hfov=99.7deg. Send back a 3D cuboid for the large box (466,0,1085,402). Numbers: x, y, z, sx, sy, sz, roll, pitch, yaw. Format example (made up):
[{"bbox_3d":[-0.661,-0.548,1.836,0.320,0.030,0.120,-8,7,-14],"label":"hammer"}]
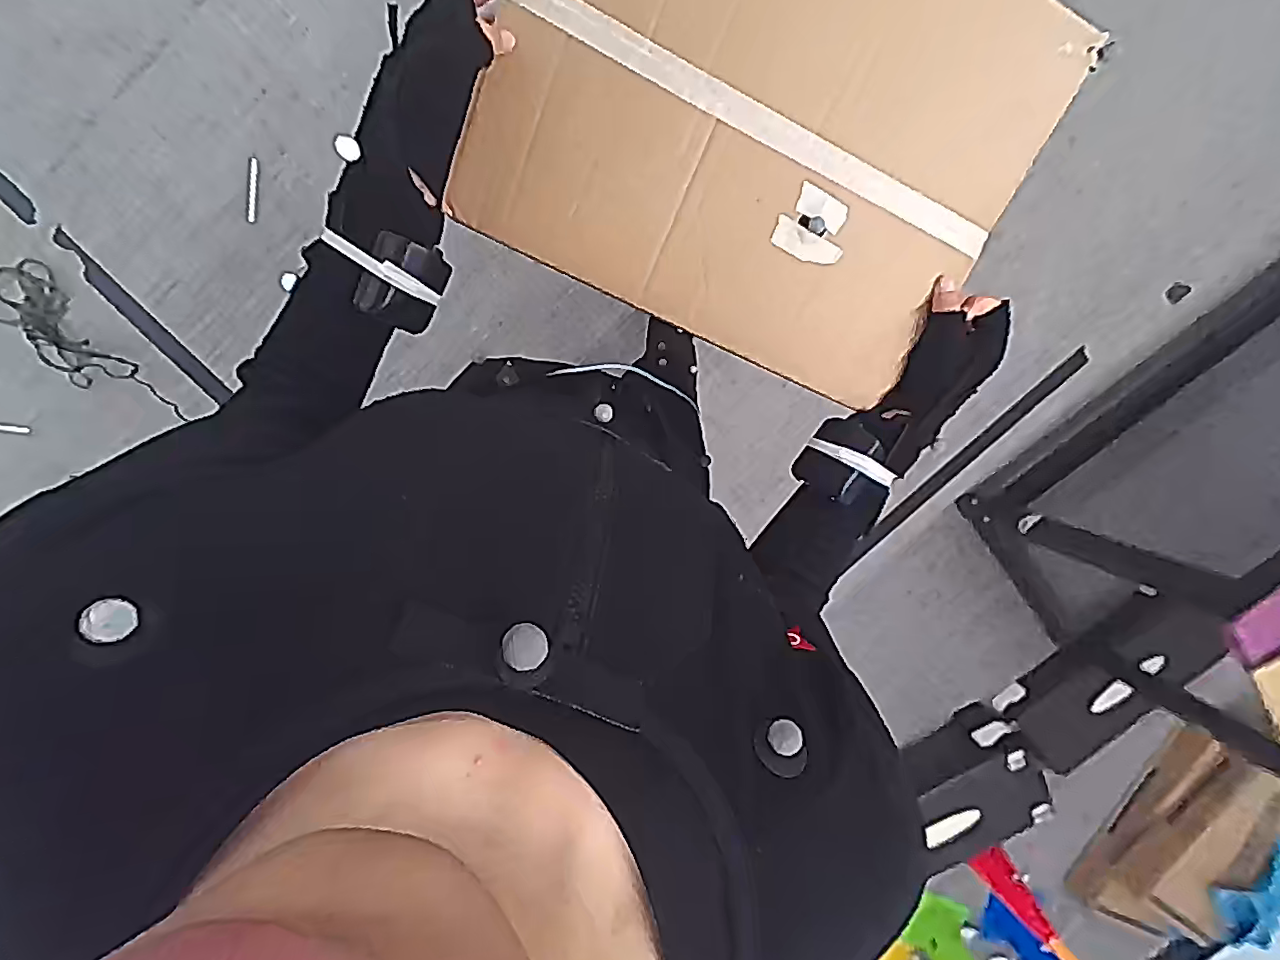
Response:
[{"bbox_3d":[0.090,-0.325,0.557,0.408,0.320,0.320,22,109,-12],"label":"large box"}]
